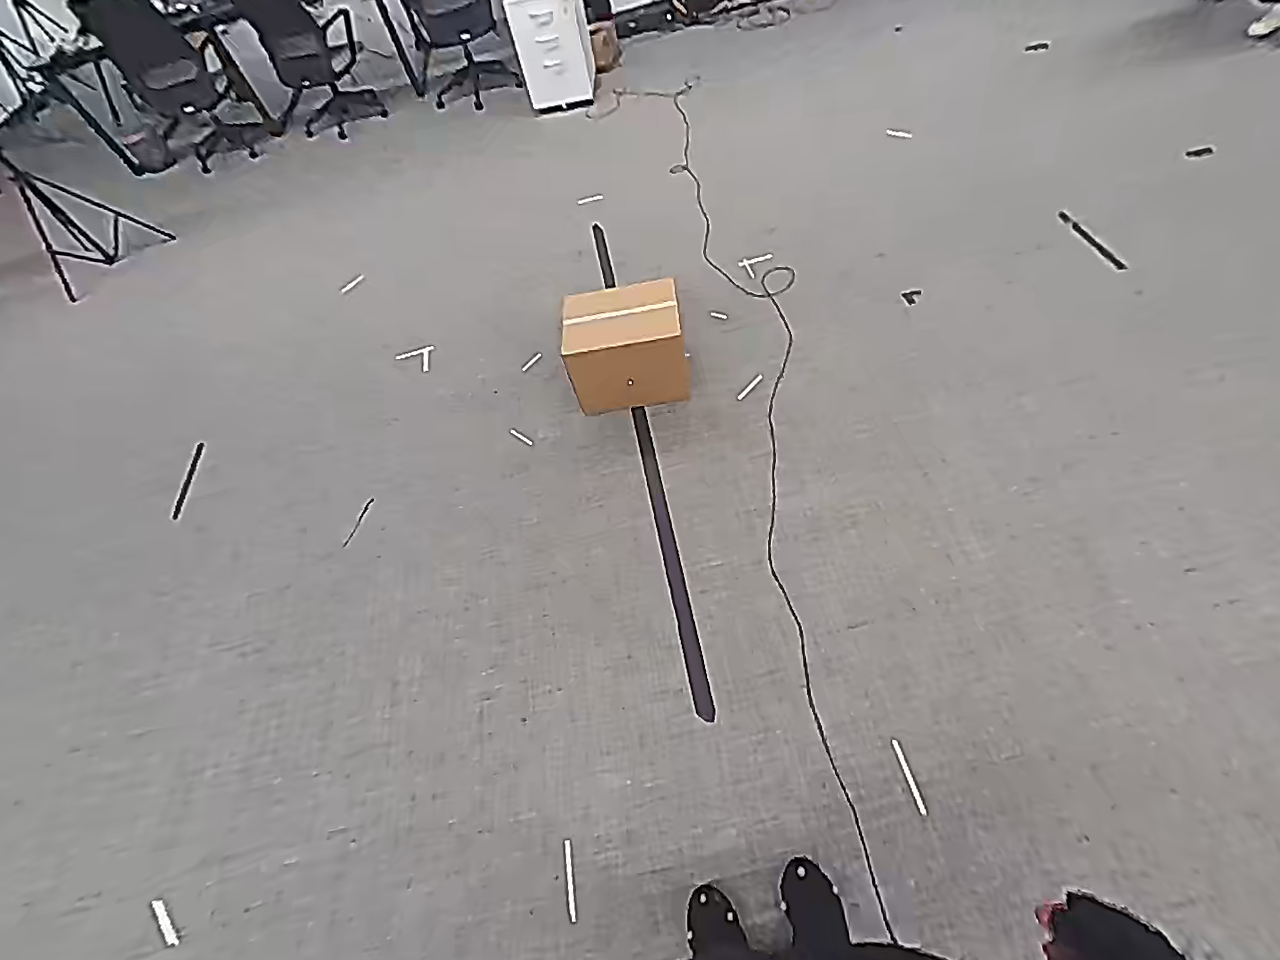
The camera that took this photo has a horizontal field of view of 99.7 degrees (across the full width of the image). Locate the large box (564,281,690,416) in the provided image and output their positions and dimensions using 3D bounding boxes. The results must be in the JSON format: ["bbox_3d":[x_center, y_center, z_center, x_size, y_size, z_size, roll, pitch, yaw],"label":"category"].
[{"bbox_3d":[-0.044,-0.469,1.966,0.408,0.320,0.320,-8,55,6],"label":"large box"}]
